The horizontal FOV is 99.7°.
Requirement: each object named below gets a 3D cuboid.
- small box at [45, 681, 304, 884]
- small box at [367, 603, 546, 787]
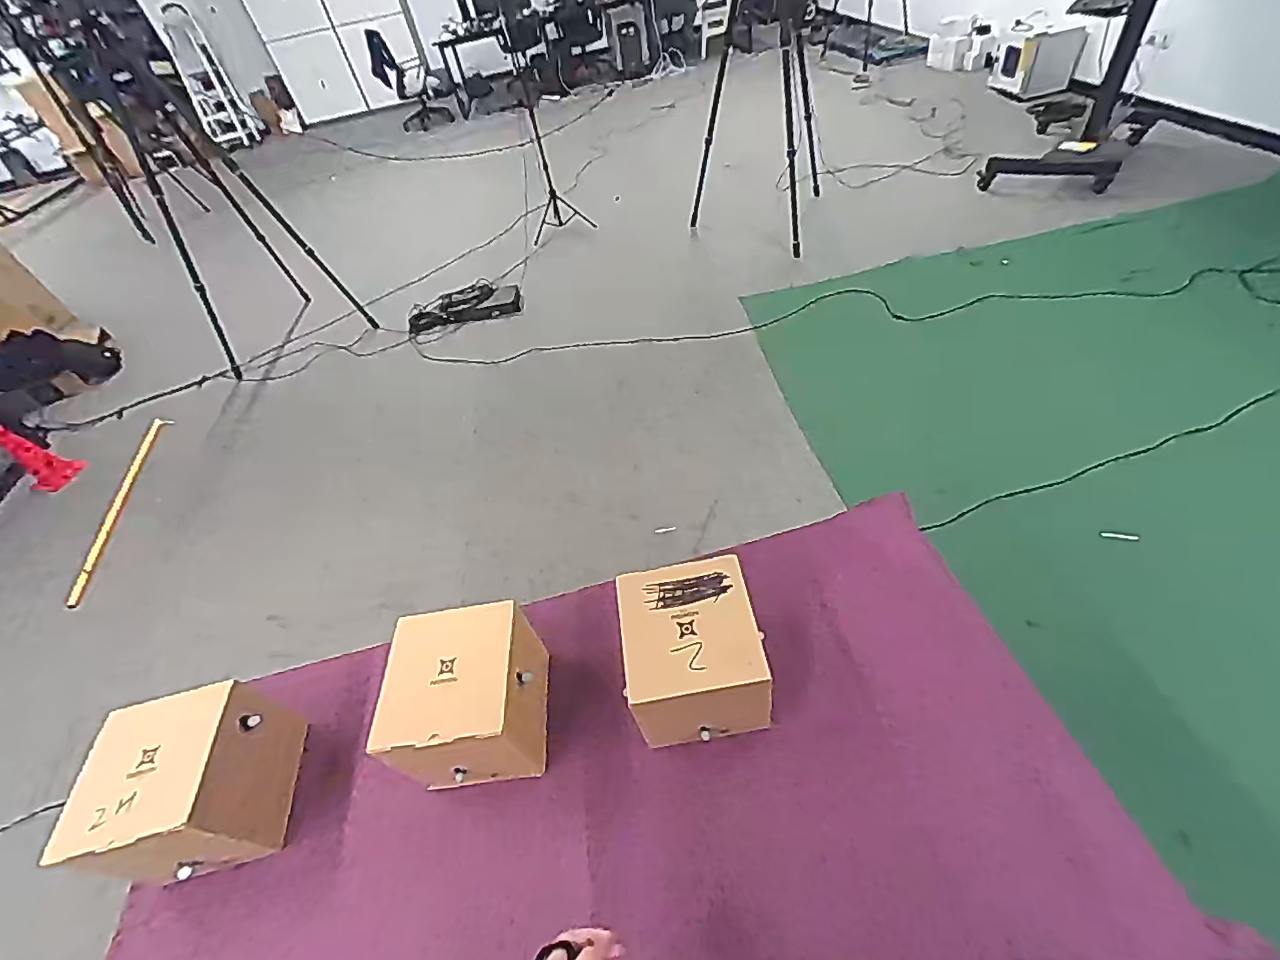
[{"bbox_3d":[-0.583,0.399,0.713,0.168,0.176,0.179,-15,47,-1],"label":"small box"},{"bbox_3d":[-0.231,0.294,0.736,0.168,0.176,0.179,-10,48,4],"label":"small box"}]
